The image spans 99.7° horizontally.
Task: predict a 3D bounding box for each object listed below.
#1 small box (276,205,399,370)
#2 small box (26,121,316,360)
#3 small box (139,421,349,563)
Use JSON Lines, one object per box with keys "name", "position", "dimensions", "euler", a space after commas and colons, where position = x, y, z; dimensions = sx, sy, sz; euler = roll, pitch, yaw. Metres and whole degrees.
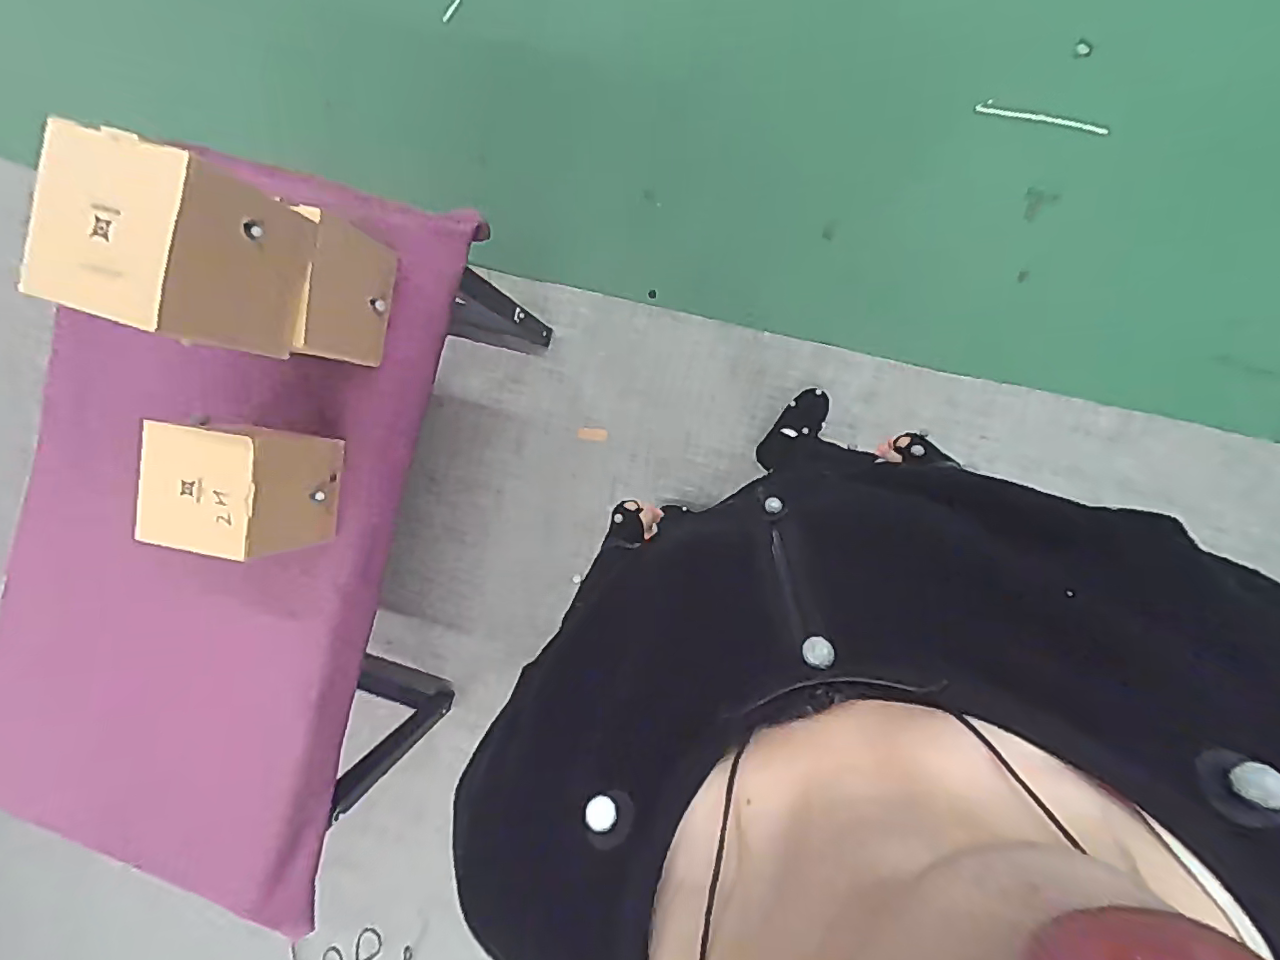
{"name": "small box", "position": [-0.470, -0.267, 0.766], "dimensions": [0.168, 0.176, 0.179], "euler": [11, 94, 8]}
{"name": "small box", "position": [-0.504, -0.250, 0.606], "dimensions": [0.168, 0.176, 0.179], "euler": [18, 96, 7]}
{"name": "small box", "position": [-0.570, 0.012, 0.793], "dimensions": [0.179, 0.176, 0.168], "euler": [9, 94, 9]}
